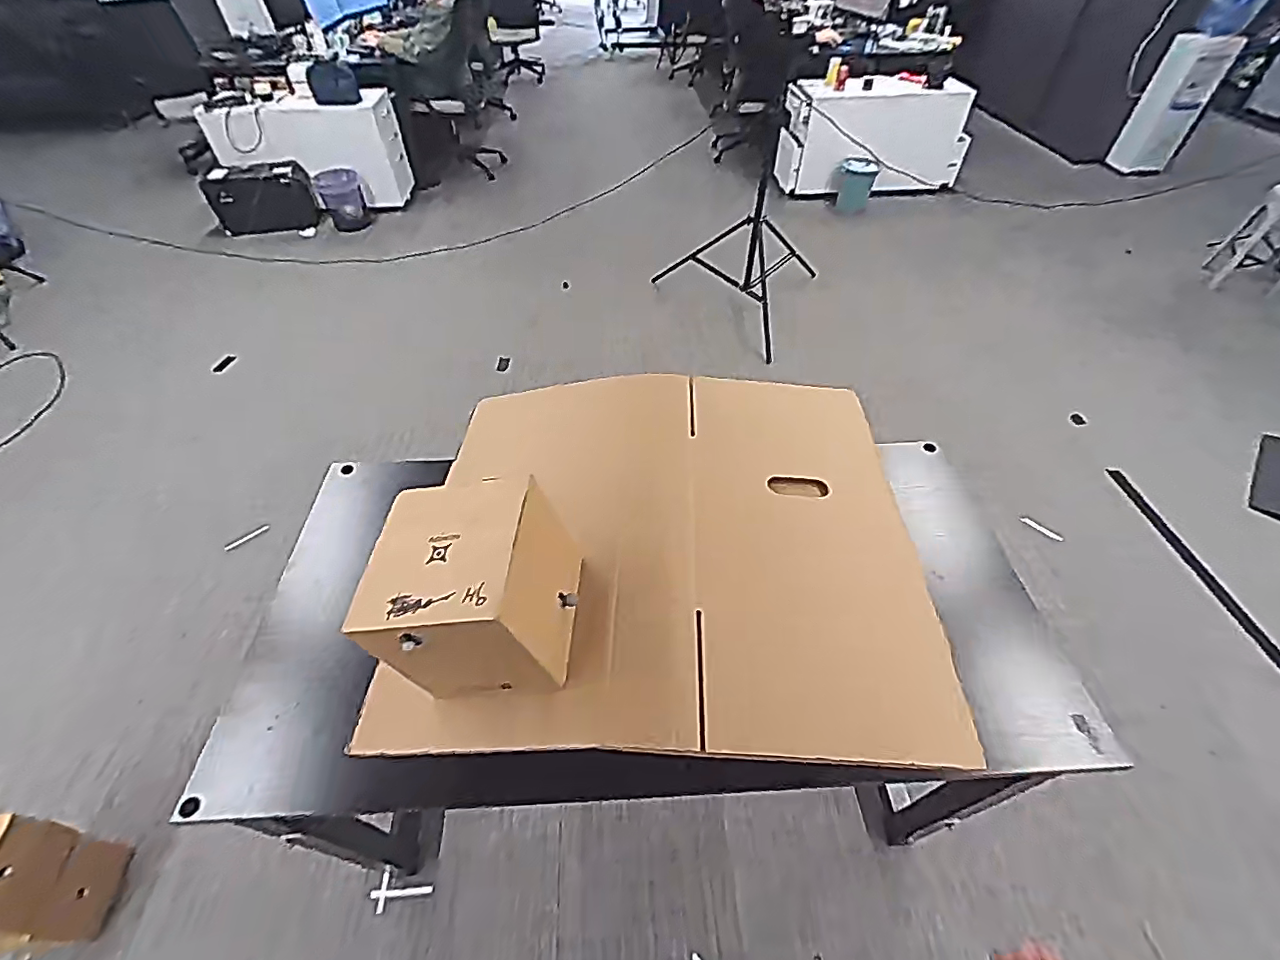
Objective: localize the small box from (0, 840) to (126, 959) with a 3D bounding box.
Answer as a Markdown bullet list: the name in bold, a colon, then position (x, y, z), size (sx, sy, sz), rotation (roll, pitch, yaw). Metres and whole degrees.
- **small box**: position (-1.237, 0.874, 1.122), size (0.168, 0.176, 0.179), rotation (-6, 49, -5)

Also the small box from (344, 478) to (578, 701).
- **small box**: position (-0.177, 0.125, 0.602), size (0.168, 0.176, 0.179), rotation (-9, 46, 13)

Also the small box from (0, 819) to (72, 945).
- **small box**: position (-1.239, 0.761, 1.006), size (0.168, 0.176, 0.179), rotation (-7, 47, -7)
